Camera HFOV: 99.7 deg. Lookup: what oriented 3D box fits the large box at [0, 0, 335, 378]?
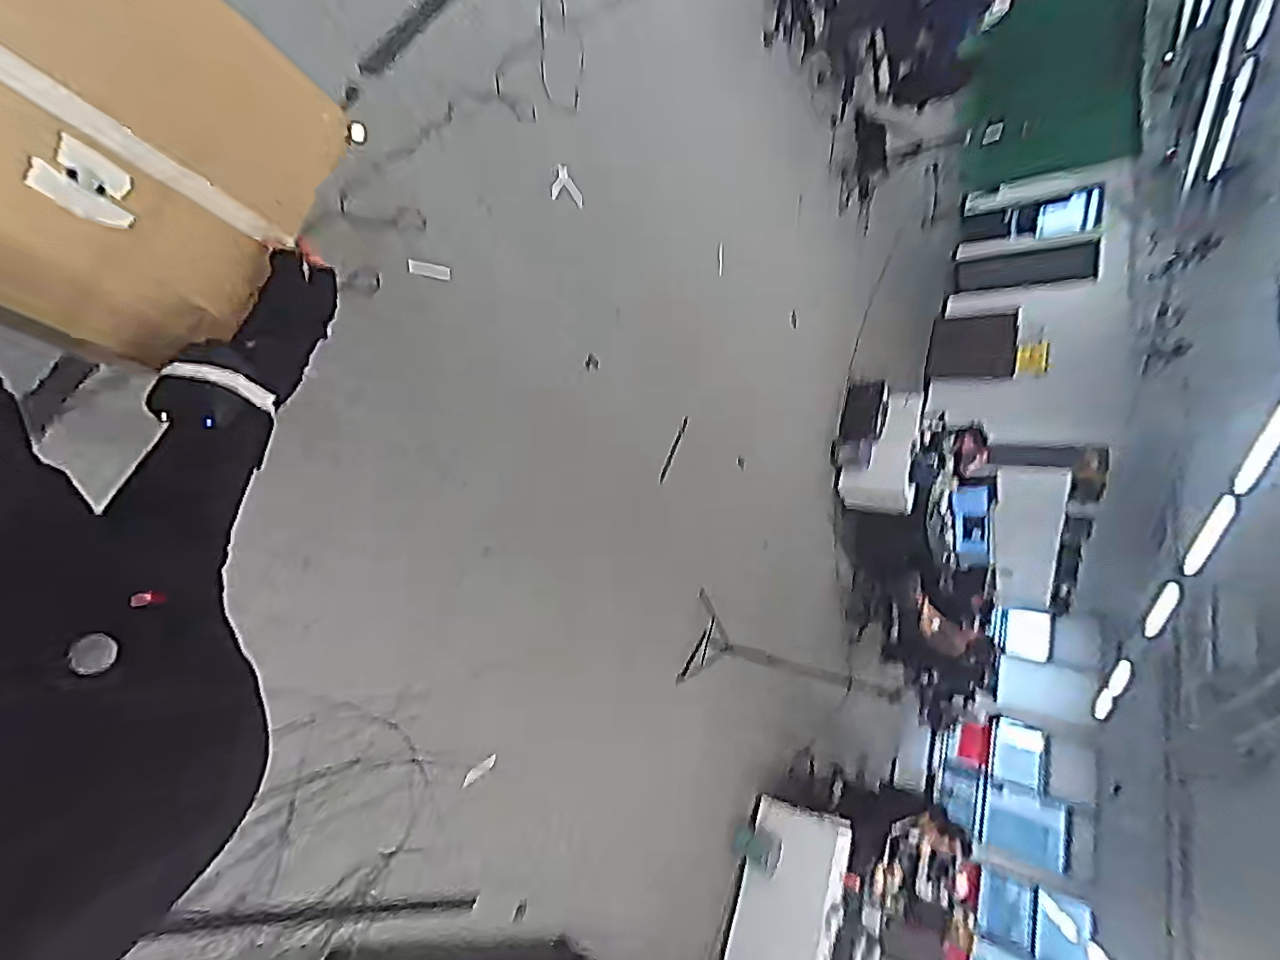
[{"bbox_3d":[-0.584,-0.322,0.463,0.408,0.320,0.320,33,74,-54],"label":"large box"}]
